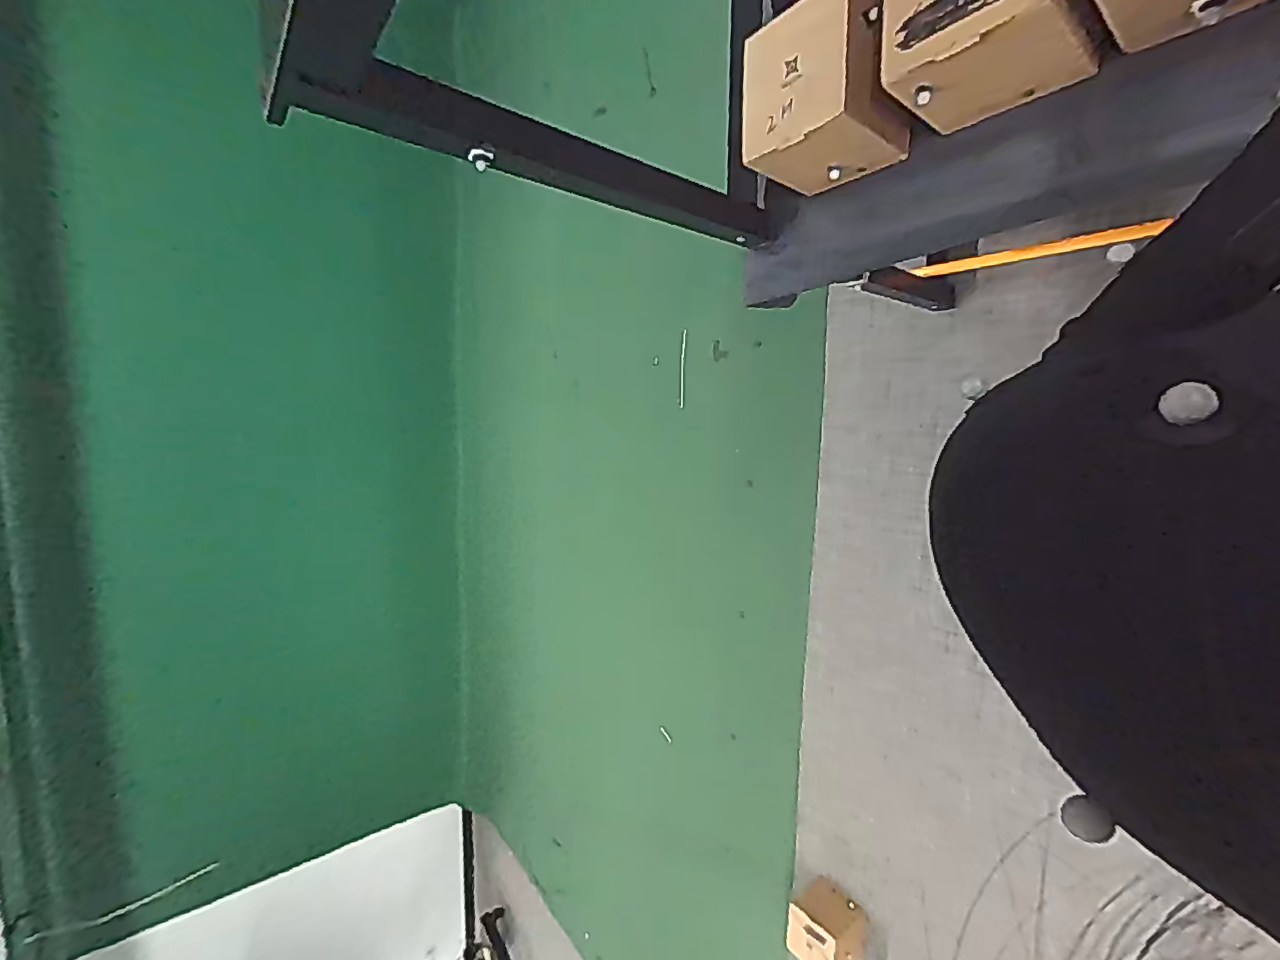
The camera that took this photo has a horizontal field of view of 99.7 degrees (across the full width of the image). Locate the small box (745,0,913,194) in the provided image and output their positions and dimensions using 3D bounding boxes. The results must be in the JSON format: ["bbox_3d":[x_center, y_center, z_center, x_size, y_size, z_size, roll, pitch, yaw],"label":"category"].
[{"bbox_3d":[0.269,-0.543,0.770,0.168,0.176,0.179,6,97,51],"label":"small box"}]

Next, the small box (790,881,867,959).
[{"bbox_3d":[0.597,1.432,1.709,0.168,0.176,0.179,12,103,51],"label":"small box"}]
